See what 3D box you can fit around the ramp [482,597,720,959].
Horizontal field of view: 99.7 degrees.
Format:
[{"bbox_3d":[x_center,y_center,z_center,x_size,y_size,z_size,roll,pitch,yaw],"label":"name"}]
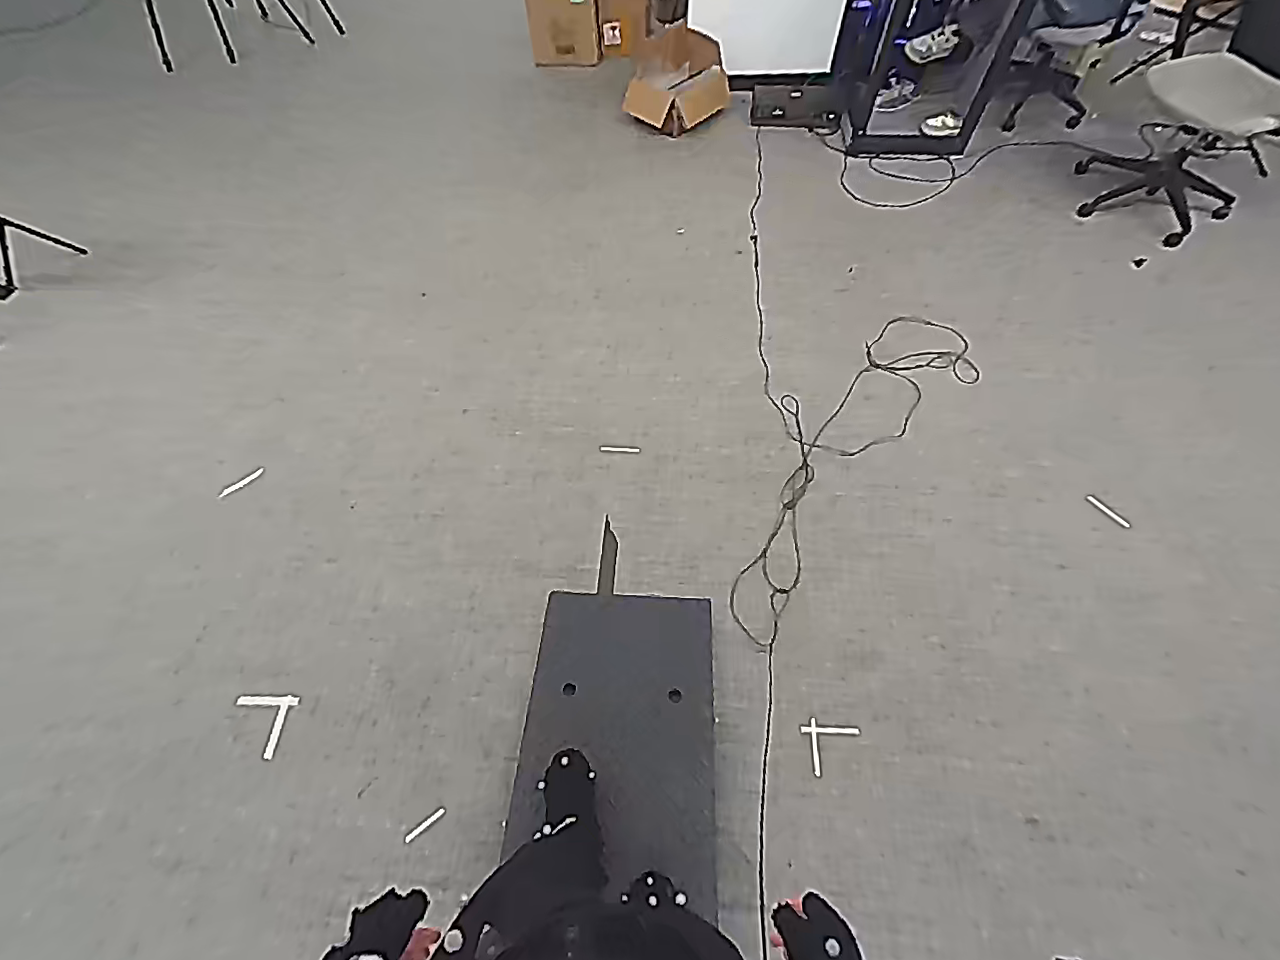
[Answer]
[{"bbox_3d":[-0.061,0.742,1.317,0.509,0.206,0.991,0,59,3],"label":"ramp"}]
